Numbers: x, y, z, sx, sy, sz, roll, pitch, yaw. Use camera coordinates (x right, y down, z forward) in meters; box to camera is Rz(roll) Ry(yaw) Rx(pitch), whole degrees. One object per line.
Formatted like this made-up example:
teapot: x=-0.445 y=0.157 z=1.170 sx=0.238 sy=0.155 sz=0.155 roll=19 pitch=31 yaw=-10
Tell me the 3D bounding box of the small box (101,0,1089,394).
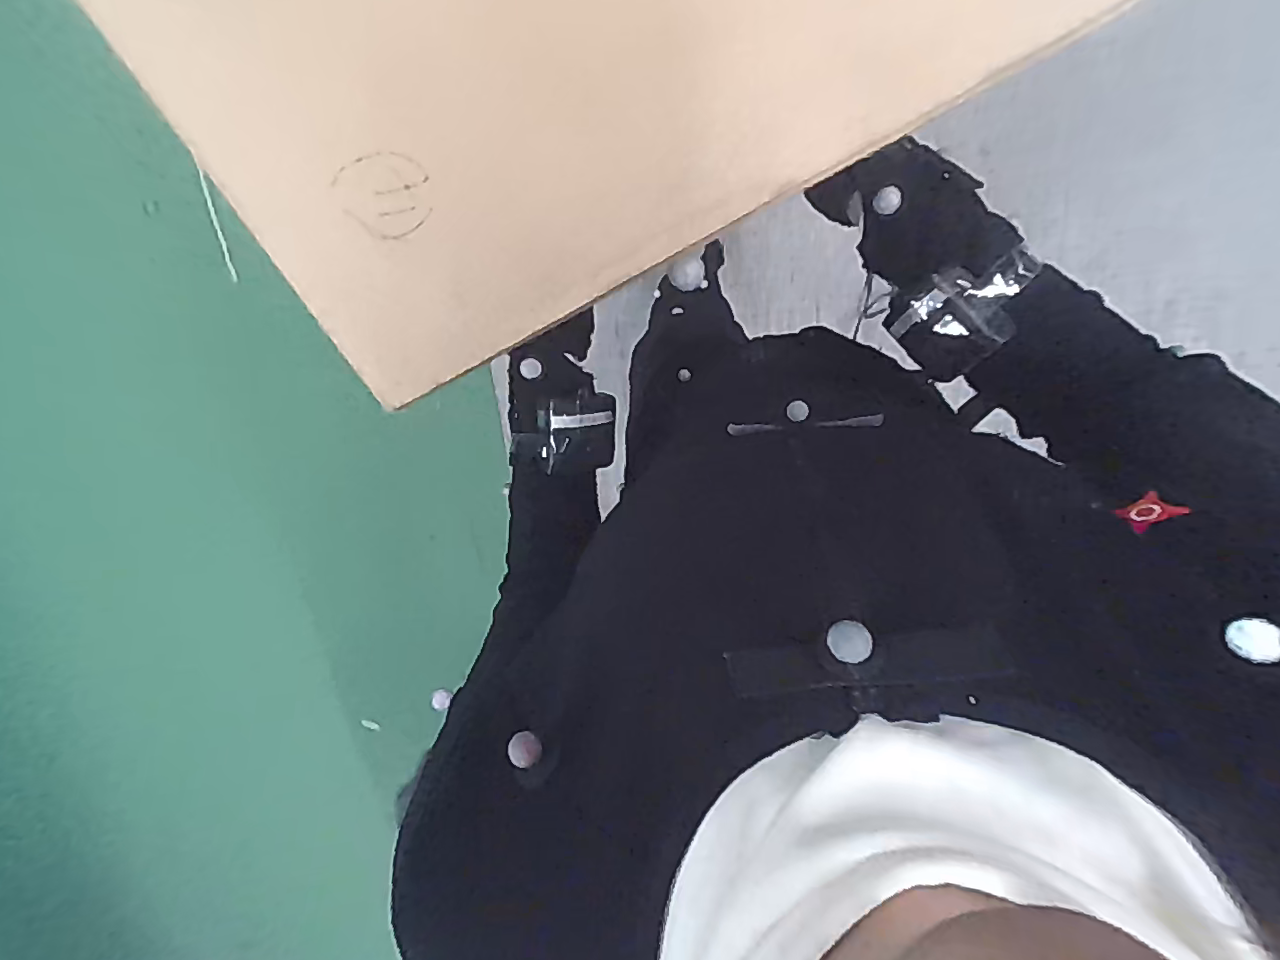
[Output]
small box: x=-0.018 y=-0.155 z=0.151 sx=0.179 sy=0.176 sz=0.168 roll=-26 pitch=112 yaw=14
